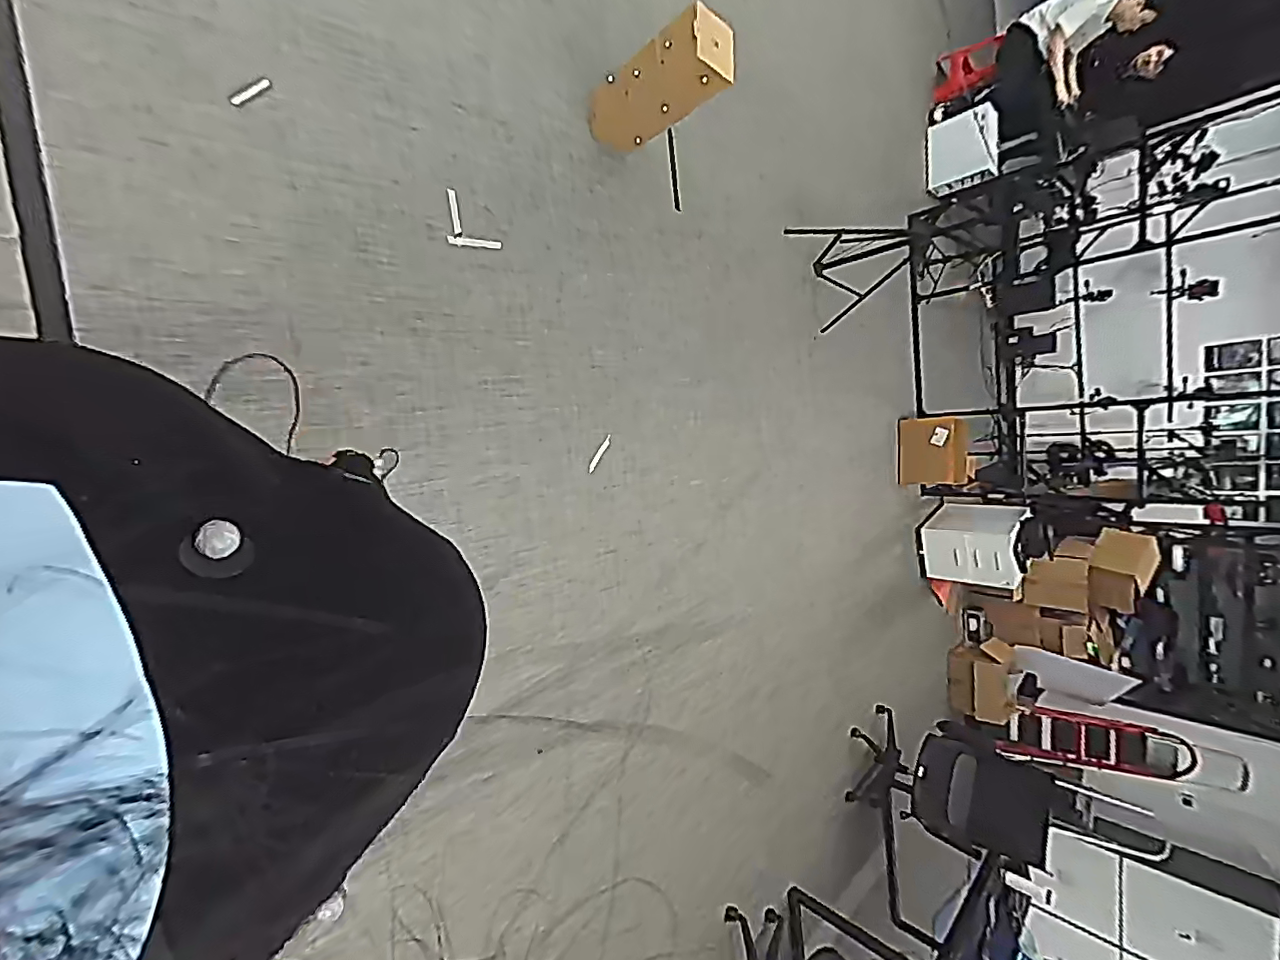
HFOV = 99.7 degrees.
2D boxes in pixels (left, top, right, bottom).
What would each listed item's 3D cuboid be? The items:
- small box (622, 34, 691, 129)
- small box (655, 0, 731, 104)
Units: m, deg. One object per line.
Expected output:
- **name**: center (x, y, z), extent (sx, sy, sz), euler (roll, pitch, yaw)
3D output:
- **small box**: center (0.051, -1.312, 1.798), extent (0.179, 0.176, 0.168), euler (-2, 93, -44)
- **small box**: center (0.165, -1.315, 1.681), extent (0.179, 0.176, 0.168), euler (-2, 92, -43)
